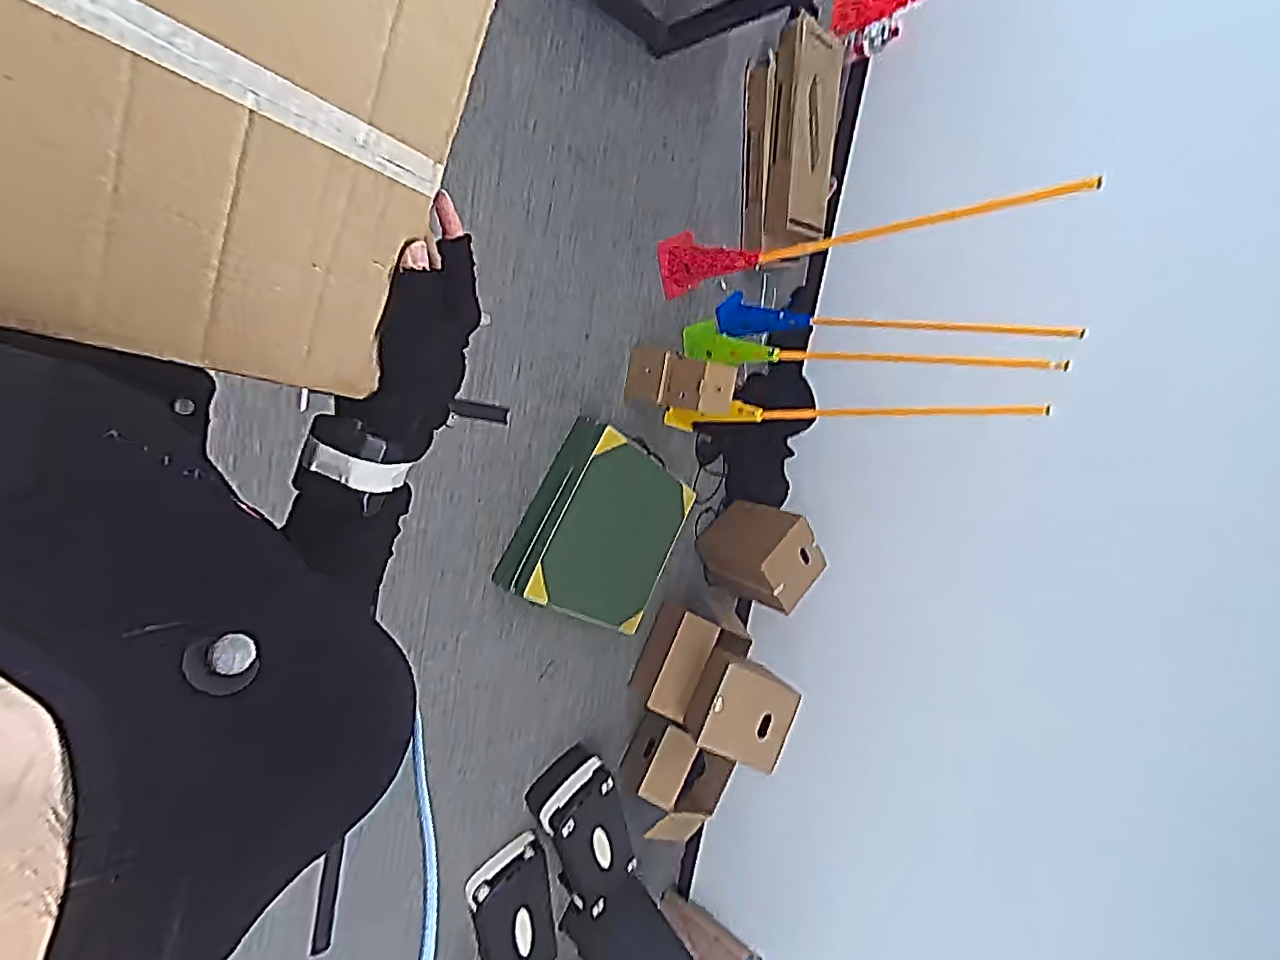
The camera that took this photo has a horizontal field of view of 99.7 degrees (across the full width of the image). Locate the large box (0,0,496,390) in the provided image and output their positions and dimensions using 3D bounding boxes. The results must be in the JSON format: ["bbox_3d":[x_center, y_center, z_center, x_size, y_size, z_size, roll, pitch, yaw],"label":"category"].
[{"bbox_3d":[-0.362,-0.288,0.321,0.408,0.320,0.320,9,113,-44],"label":"large box"}]
